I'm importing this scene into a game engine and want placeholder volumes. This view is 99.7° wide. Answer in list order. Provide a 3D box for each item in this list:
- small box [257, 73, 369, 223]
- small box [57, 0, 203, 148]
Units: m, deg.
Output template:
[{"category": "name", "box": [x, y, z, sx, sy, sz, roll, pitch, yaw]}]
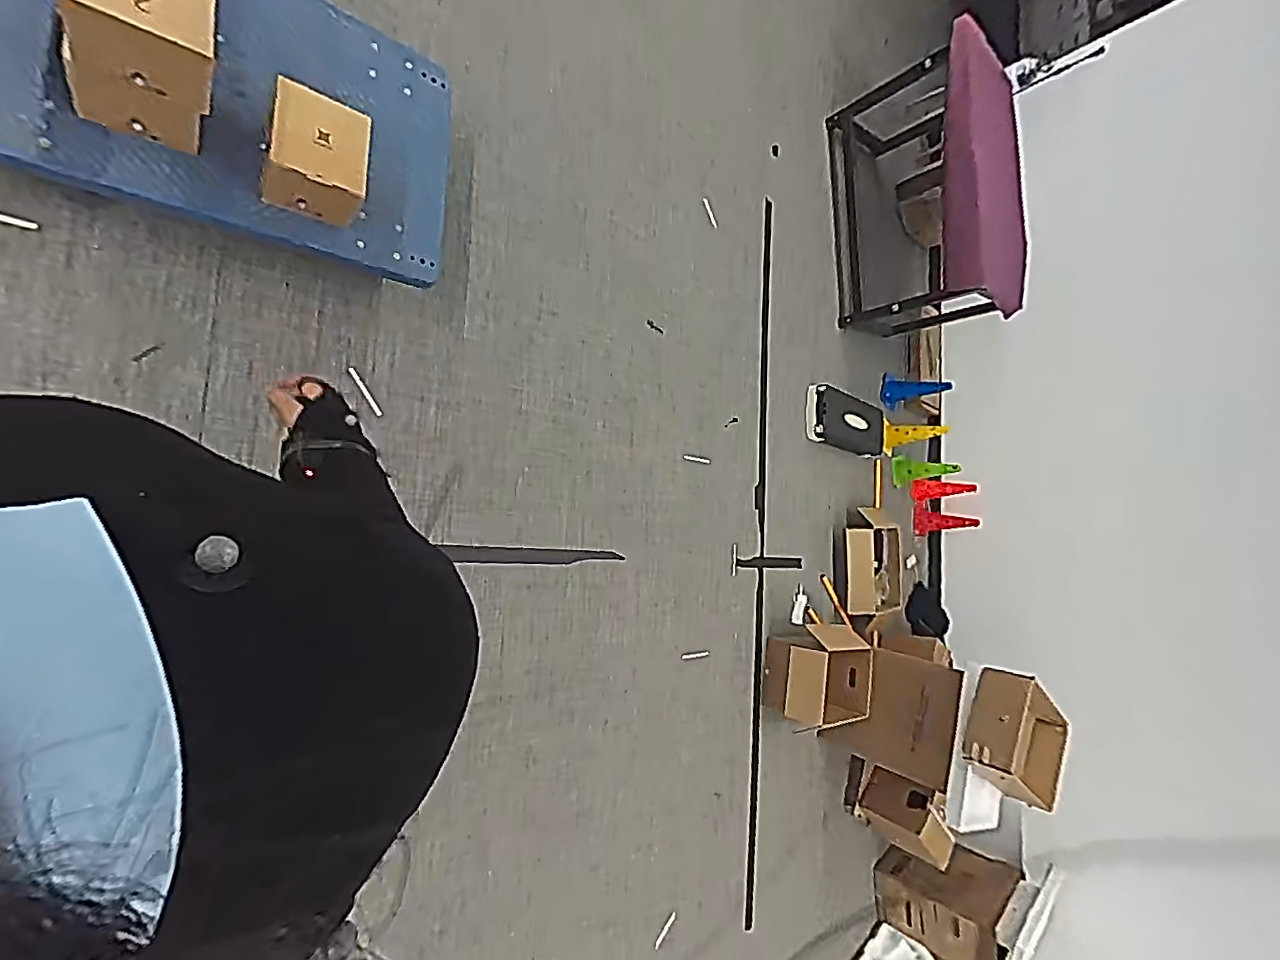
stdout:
[{"category": "small box", "box": [-0.678, -0.670, 1.117, 0.168, 0.176, 0.179, 6, 85, -41]}, {"category": "small box", "box": [-0.878, -0.731, 0.941, 0.168, 0.176, 0.179, 4, 86, -41]}]
